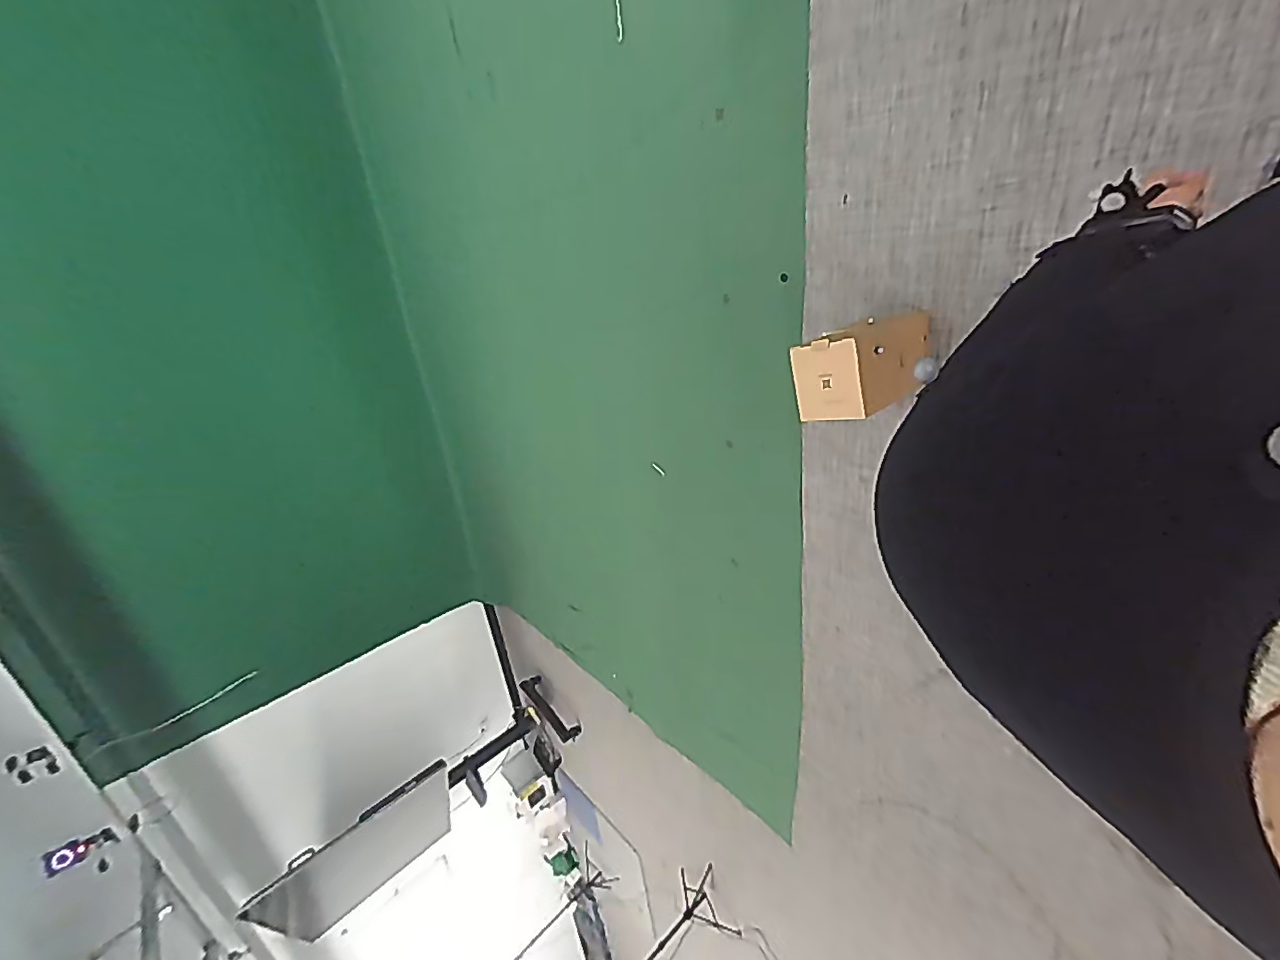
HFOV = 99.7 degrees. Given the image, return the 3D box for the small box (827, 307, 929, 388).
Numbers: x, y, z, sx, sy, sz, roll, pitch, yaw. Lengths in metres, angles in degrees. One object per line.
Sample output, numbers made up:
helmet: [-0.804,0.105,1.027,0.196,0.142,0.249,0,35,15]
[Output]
small box: [0.589,-0.320,1.327,0.179,0.176,0.168,9,117,51]

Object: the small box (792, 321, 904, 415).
small box: [0.475,-0.256,1.230,0.168,0.176,0.179,5,115,53]
